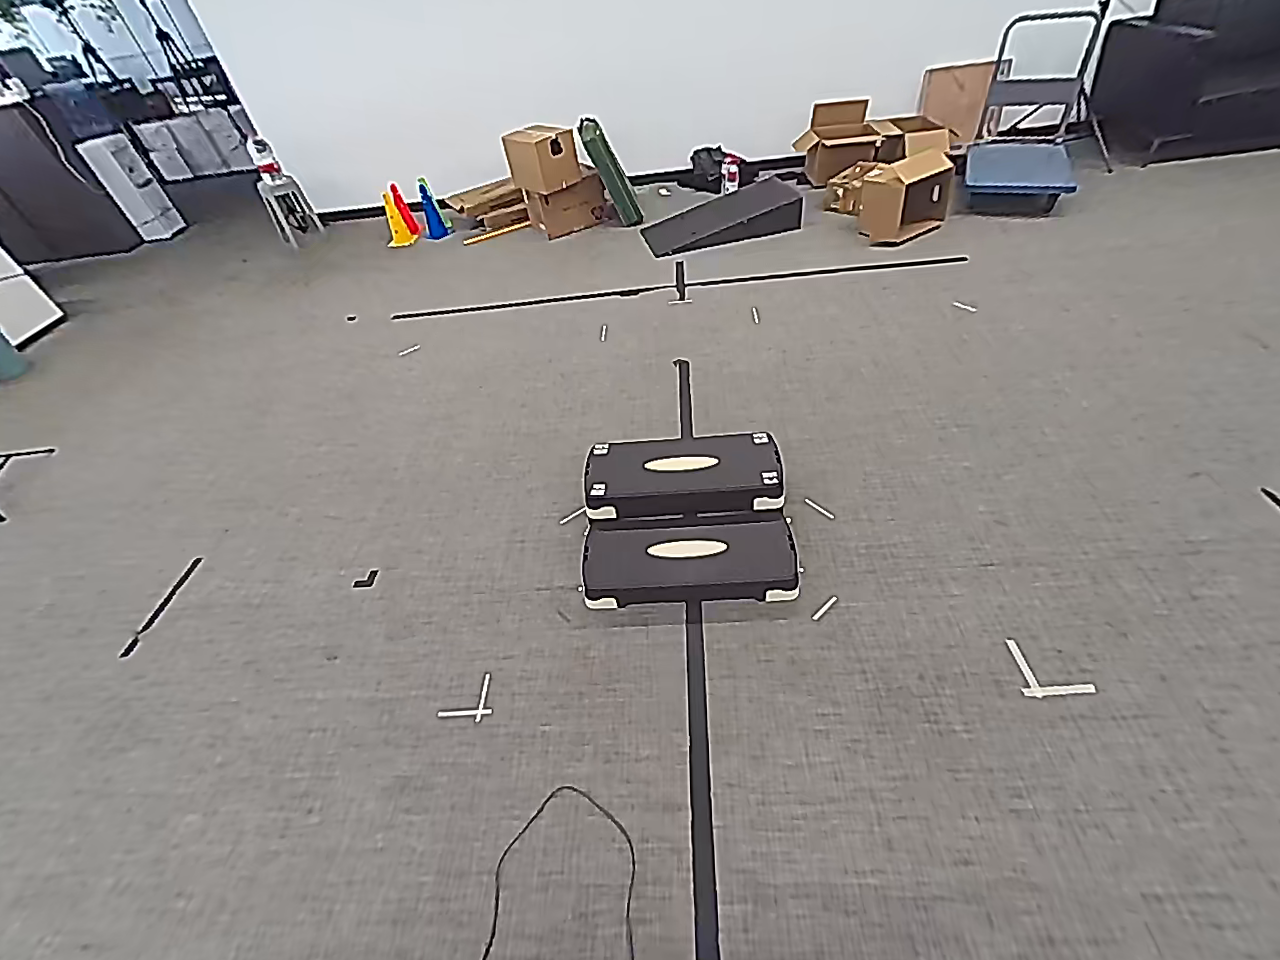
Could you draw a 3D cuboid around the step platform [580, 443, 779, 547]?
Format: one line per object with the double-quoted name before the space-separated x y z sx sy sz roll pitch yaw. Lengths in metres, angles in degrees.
"step platform" 0.132 0.045 1.886 0.684 0.204 0.286 -4 45 4
